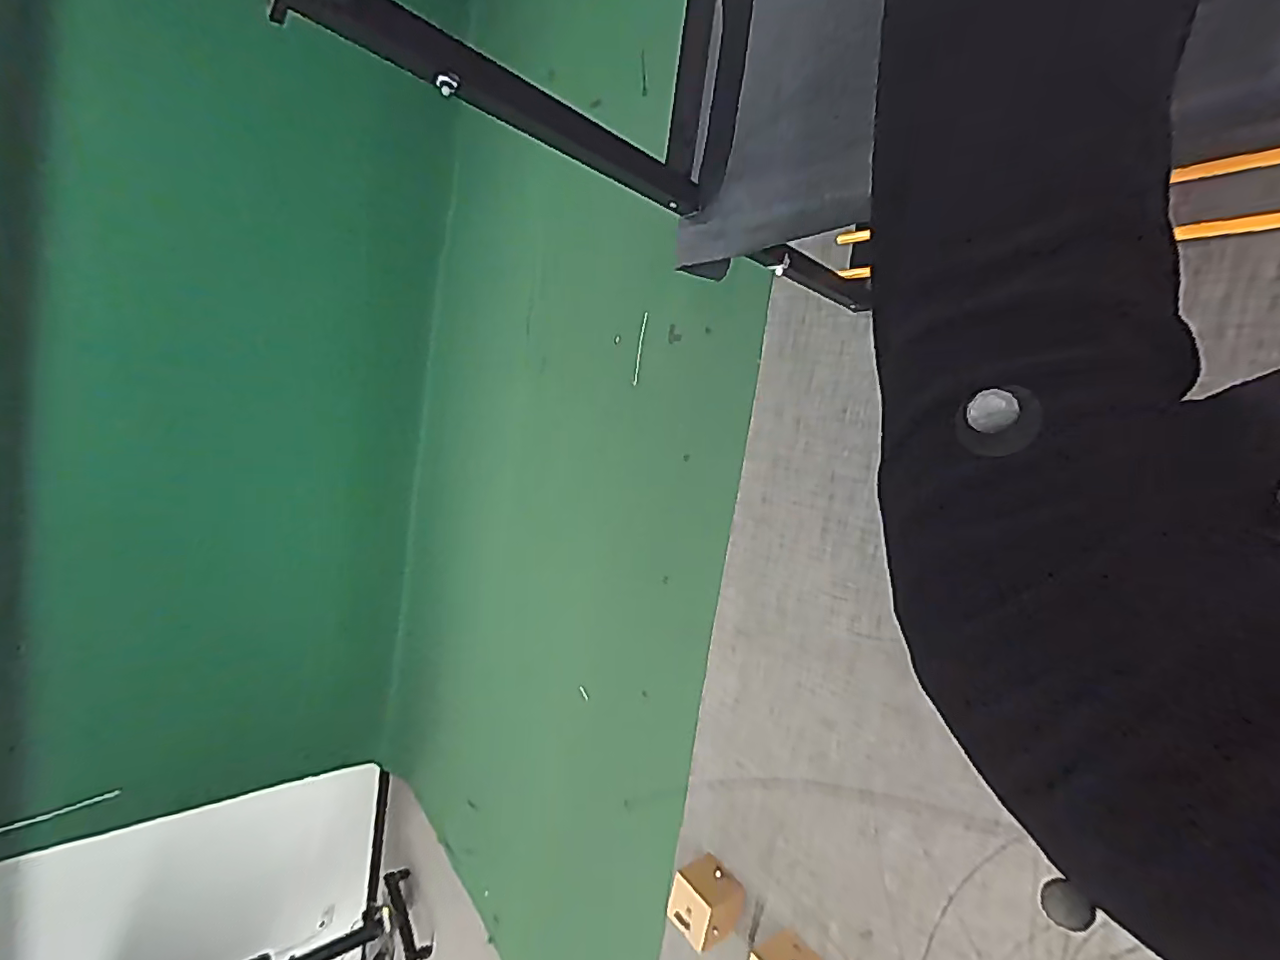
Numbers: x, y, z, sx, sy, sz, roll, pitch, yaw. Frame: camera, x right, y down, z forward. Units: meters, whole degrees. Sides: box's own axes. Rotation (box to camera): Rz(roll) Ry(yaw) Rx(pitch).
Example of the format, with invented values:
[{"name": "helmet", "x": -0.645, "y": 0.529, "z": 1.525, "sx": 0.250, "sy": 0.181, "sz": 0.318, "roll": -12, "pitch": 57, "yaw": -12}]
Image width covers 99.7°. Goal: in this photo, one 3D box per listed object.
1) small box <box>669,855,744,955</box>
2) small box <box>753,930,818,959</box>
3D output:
[{"name": "small box", "x": 0.227, "y": 1.425, "z": 1.827, "sx": 0.168, "sy": 0.176, "sz": 0.179, "roll": 20, "pitch": 101, "yaw": 48}, {"name": "small box", "x": 0.435, "y": 1.489, "z": 1.584, "sx": 0.168, "sy": 0.176, "sz": 0.179, "roll": 15, "pitch": 99, "yaw": 49}]
